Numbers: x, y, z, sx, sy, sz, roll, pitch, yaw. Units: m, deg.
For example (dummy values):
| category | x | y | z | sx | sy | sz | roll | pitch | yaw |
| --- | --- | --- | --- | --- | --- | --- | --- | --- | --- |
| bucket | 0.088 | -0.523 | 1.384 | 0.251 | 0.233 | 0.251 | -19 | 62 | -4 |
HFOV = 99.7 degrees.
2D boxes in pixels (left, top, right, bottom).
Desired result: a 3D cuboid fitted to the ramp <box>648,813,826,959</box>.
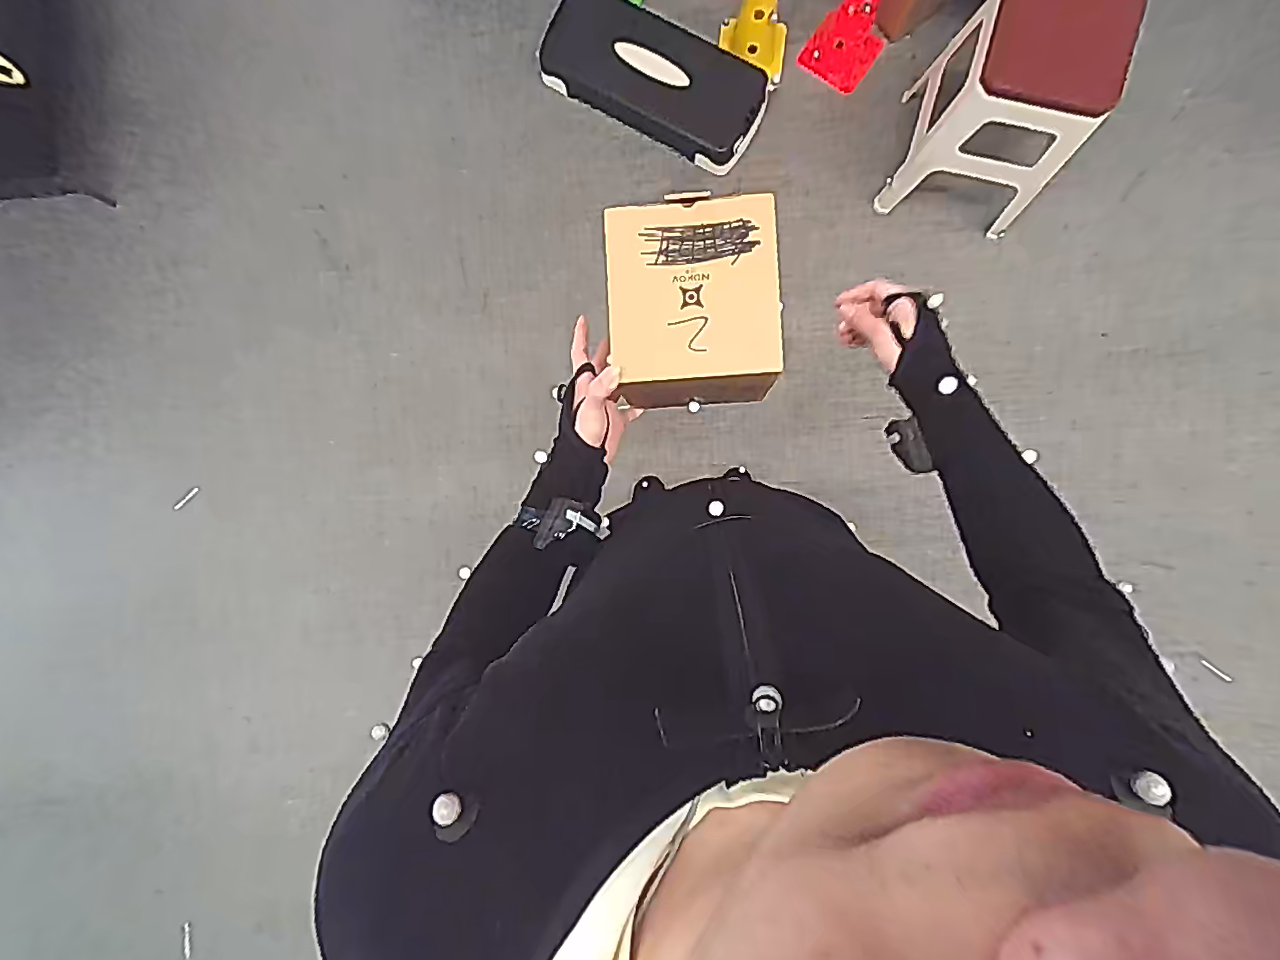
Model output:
| category | x | y | z | sx | sy | sz | roll | pitch | yaw |
| --- | --- | --- | --- | --- | --- | --- | --- | --- | --- |
| ramp | 0.287 | 1.491 | 1.519 | 0.509 | 0.206 | 0.991 | -5 | 89 | 5 |
